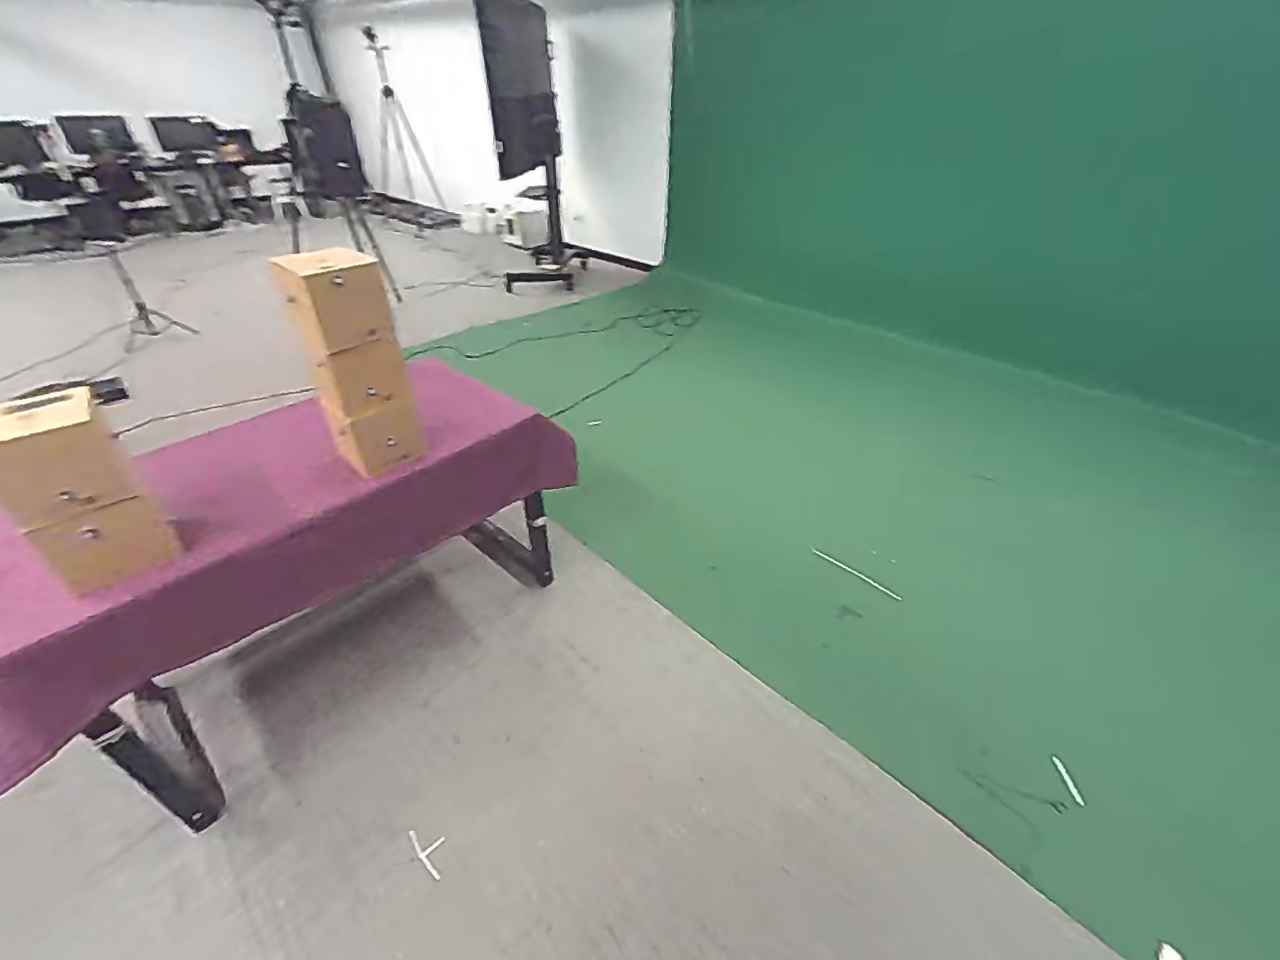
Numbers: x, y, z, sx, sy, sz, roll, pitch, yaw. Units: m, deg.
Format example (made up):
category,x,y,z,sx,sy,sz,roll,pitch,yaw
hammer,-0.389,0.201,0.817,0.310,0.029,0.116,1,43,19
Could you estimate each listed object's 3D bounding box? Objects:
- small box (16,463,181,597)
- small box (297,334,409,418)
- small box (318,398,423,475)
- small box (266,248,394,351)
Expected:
category,x,y,z,sx,sy,sz,roll,pitch,yaw
small box,-1.064,0.097,1.071,0.179,0.176,0.168,-29,45,-35
small box,-0.686,-0.271,1.302,0.179,0.176,0.168,31,46,33
small box,-0.686,-0.134,1.391,0.179,0.176,0.168,29,45,34
small box,-0.683,-0.403,1.203,0.179,0.176,0.168,27,44,31
